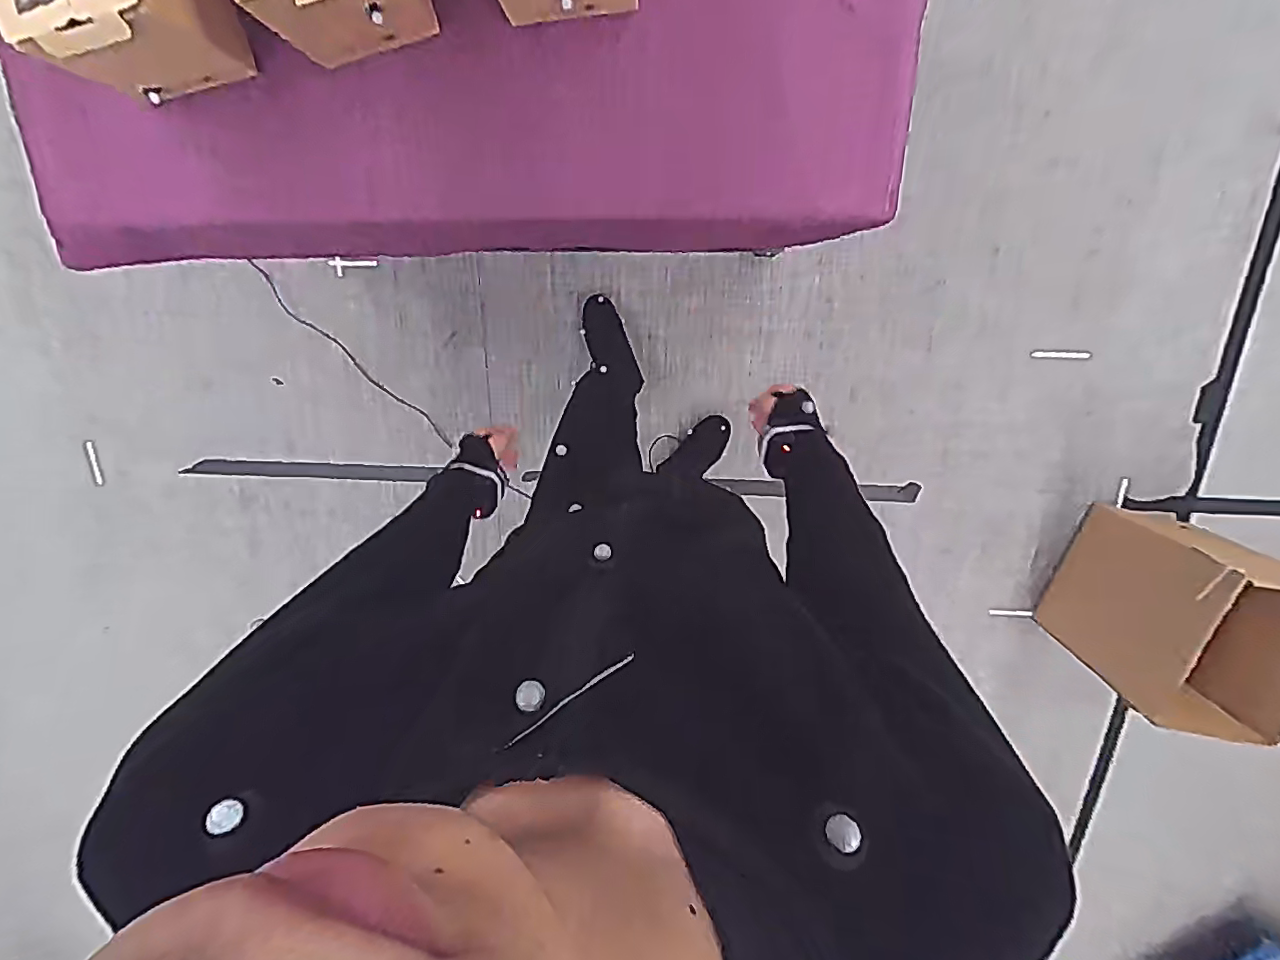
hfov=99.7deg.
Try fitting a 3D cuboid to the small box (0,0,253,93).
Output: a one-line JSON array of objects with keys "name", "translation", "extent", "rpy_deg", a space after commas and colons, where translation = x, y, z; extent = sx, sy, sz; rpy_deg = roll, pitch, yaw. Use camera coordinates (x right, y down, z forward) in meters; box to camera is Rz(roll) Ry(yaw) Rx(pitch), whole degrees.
[{"name": "small box", "translation": [-0.605, -0.586, 0.629], "extent": [0.168, 0.176, 0.179], "rpy_deg": [-10, 106, 5]}]

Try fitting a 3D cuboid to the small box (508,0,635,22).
[{"name": "small box", "translation": [-0.094, -0.650, 0.586], "extent": [0.168, 0.176, 0.179], "rpy_deg": [-4, 107, 4]}]

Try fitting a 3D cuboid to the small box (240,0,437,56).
[{"name": "small box", "translation": [-0.356, -0.620, 0.609], "extent": [0.168, 0.176, 0.179], "rpy_deg": [-12, 106, 6]}]
